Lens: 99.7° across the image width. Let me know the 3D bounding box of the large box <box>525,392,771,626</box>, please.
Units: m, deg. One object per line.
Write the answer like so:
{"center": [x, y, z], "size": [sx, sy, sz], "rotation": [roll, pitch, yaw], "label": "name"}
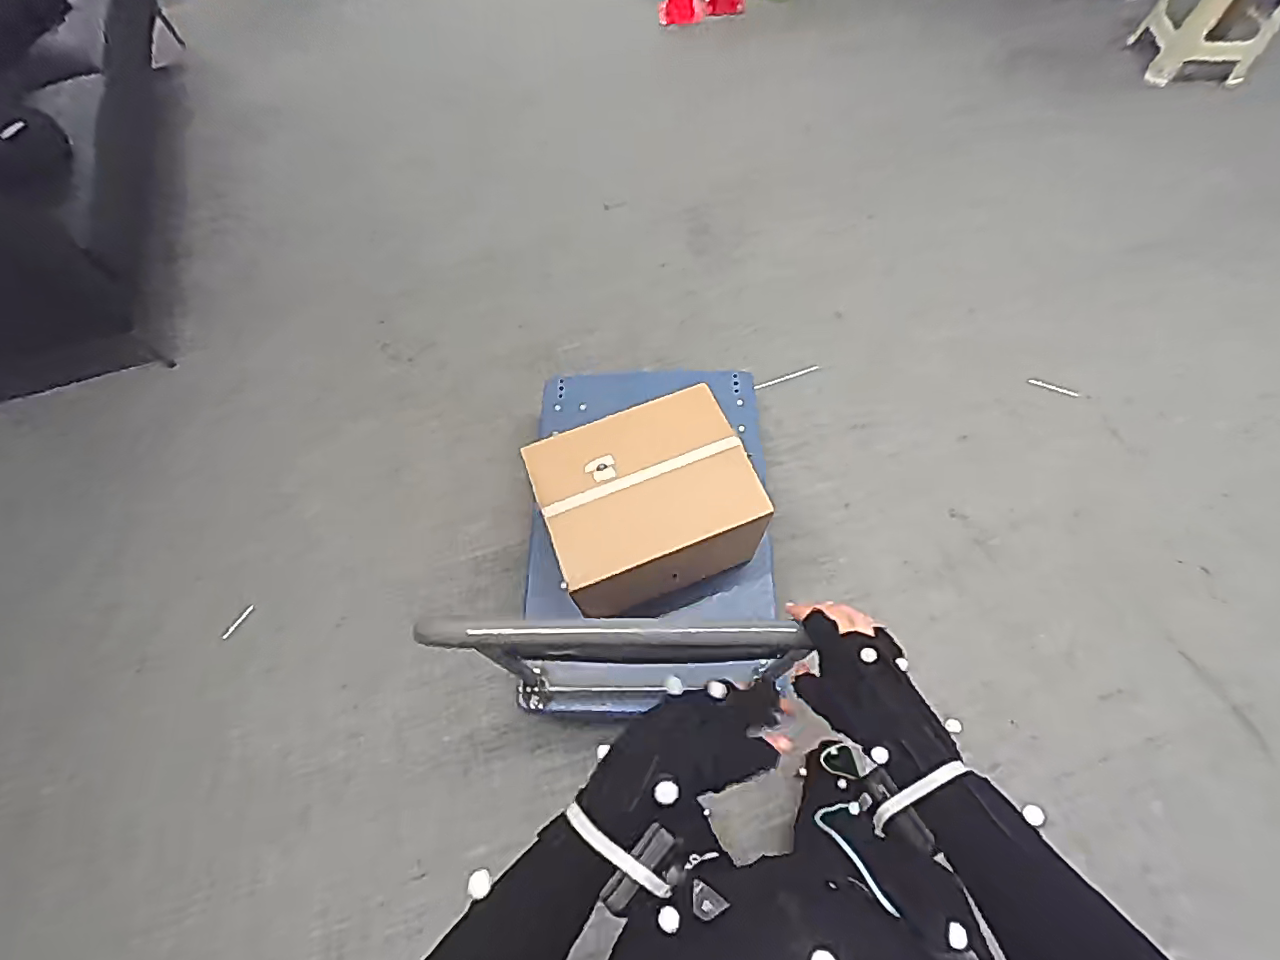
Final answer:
{"center": [0.018, 0.076, 1.179], "size": [0.408, 0.320, 0.320], "rotation": [-23, 65, -6], "label": "large box"}
